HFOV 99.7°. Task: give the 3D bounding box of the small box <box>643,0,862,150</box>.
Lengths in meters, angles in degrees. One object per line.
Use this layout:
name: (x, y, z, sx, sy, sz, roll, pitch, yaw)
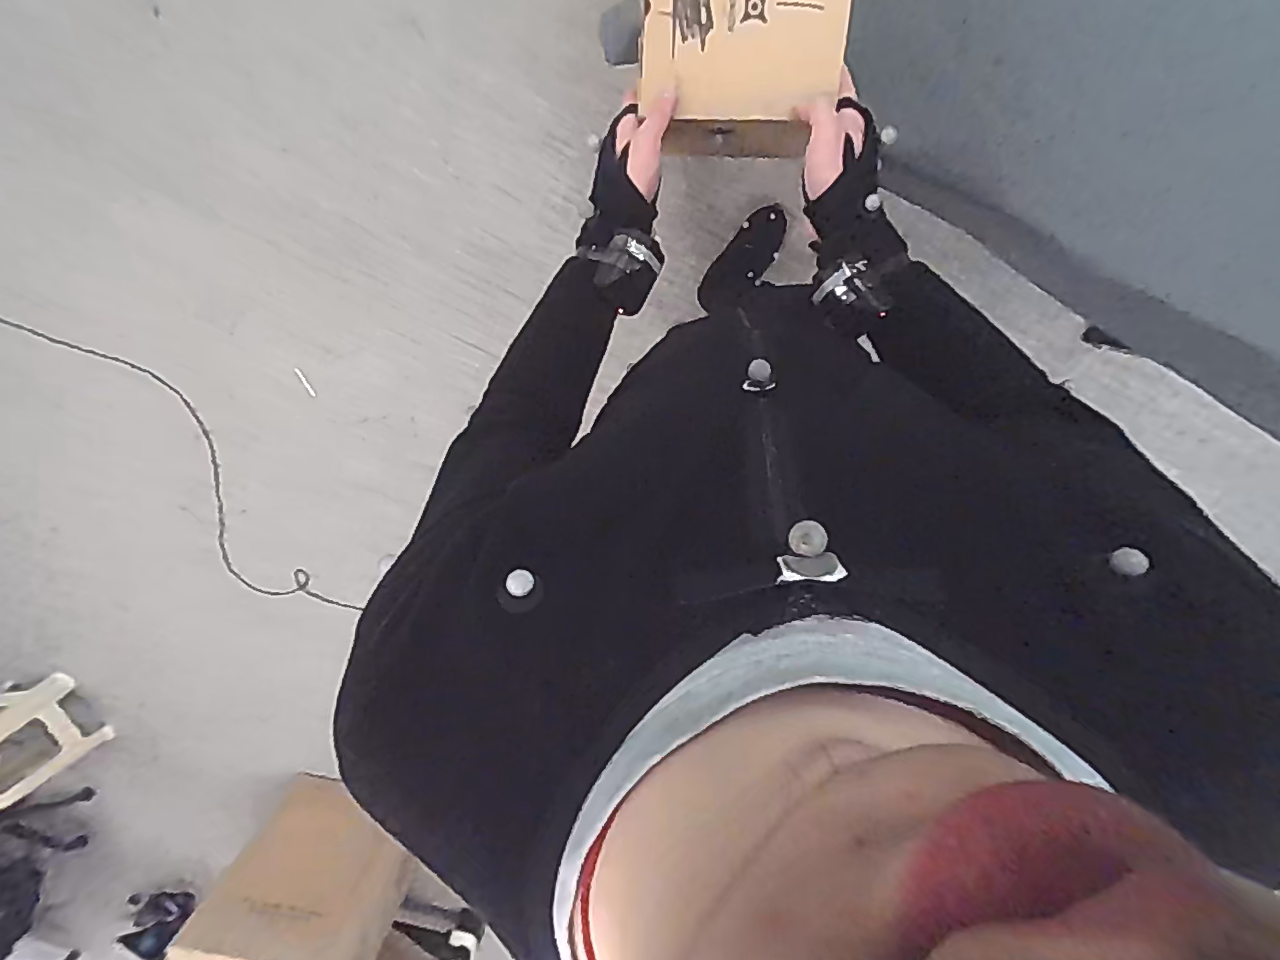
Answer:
small box: (0.099, -0.424, 0.512, 0.179, 0.176, 0.168, 4, 112, 3)
